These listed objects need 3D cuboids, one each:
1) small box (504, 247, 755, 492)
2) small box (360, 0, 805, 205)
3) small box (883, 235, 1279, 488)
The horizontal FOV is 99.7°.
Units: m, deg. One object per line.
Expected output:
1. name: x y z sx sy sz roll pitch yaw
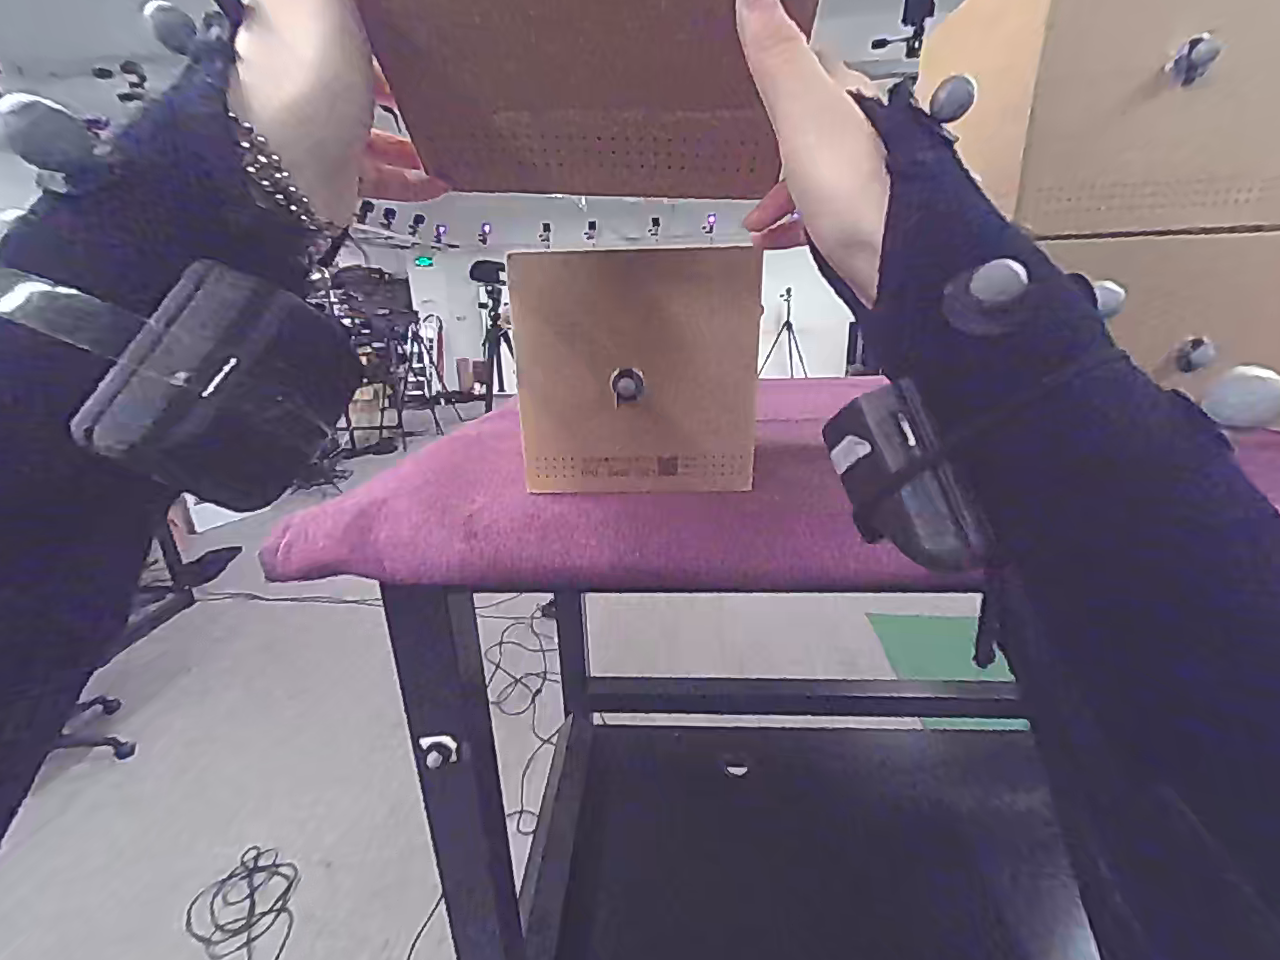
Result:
1. small box: -0.001 -0.094 0.447 0.168 0.176 0.179 0 19 2
2. small box: -0.019 -0.245 0.231 0.179 0.168 0.176 3 -24 1
3. small box: 0.320 -0.097 0.440 0.179 0.176 0.168 -2 18 2
